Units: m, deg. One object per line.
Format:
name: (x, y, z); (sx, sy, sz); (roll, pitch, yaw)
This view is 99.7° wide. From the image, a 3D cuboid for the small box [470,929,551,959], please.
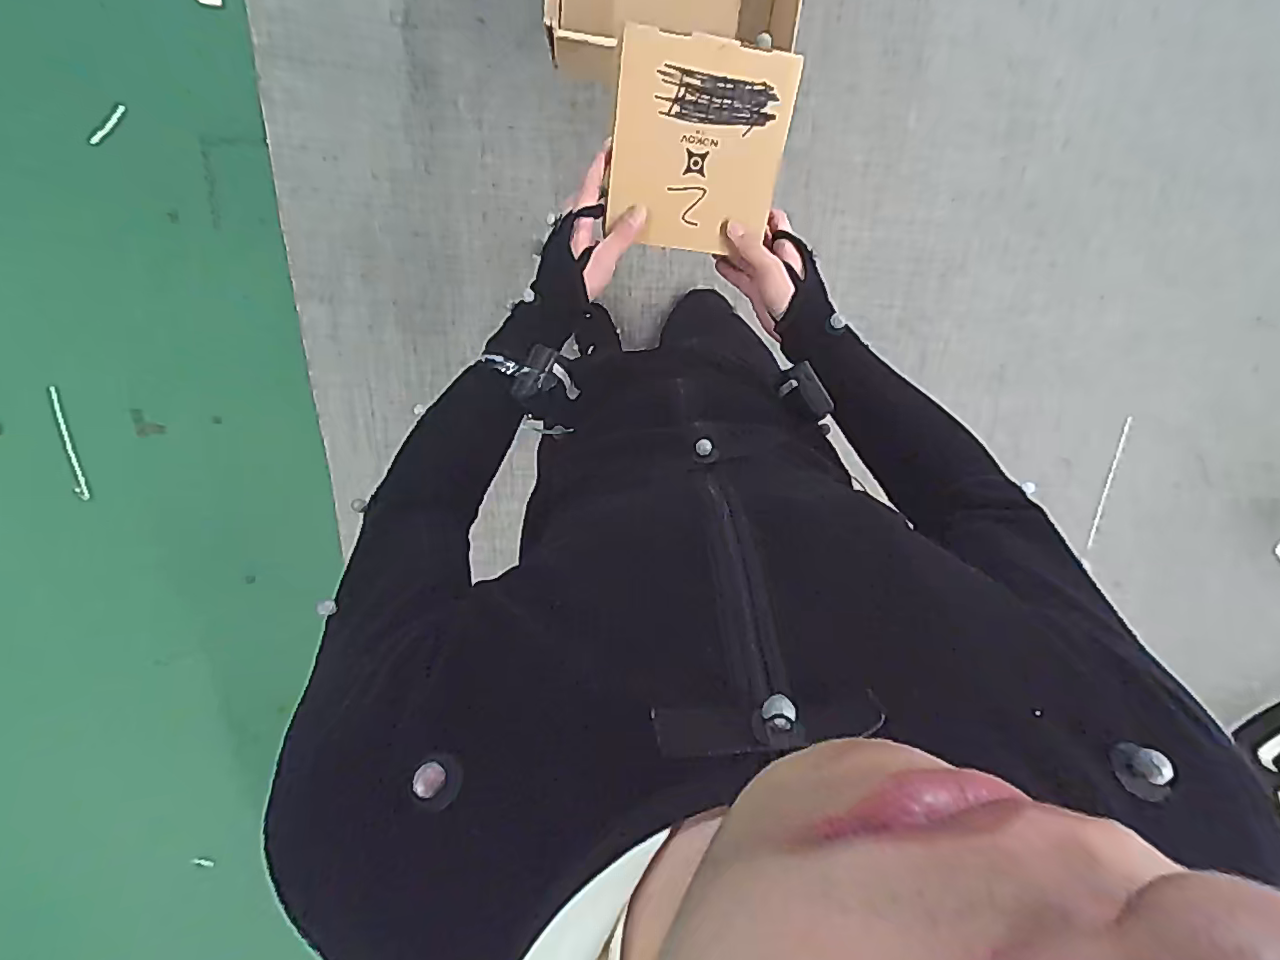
small box: (-0.281, 1.096, 1.146); (0.168, 0.176, 0.179); (-10, 110, -3)
